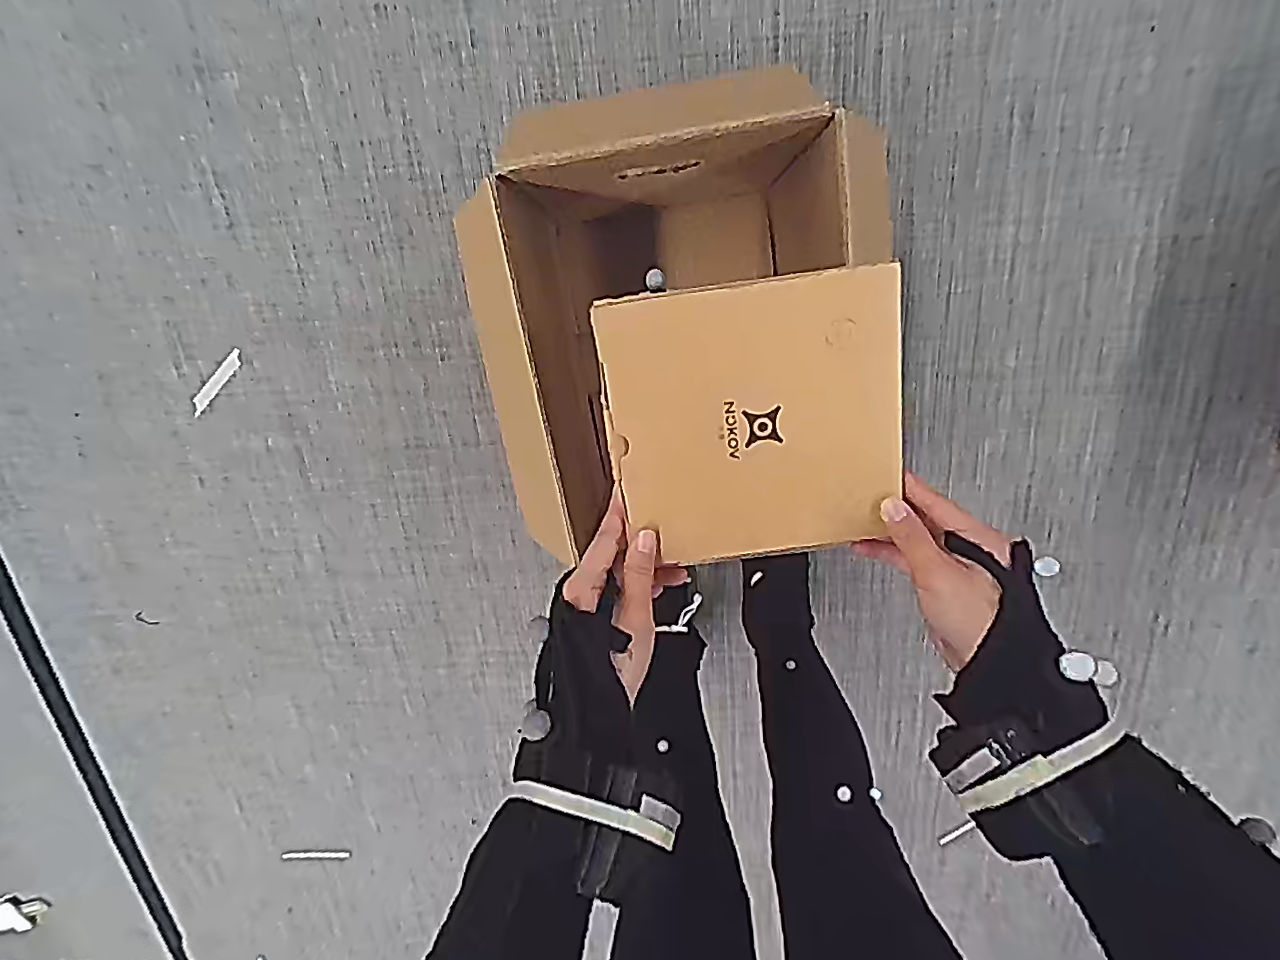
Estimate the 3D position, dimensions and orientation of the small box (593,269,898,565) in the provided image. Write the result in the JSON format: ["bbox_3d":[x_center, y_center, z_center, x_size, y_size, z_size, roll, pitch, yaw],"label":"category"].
[{"bbox_3d":[0.068,-0.056,0.404,0.179,0.176,0.168,-8,107,3],"label":"small box"}]
